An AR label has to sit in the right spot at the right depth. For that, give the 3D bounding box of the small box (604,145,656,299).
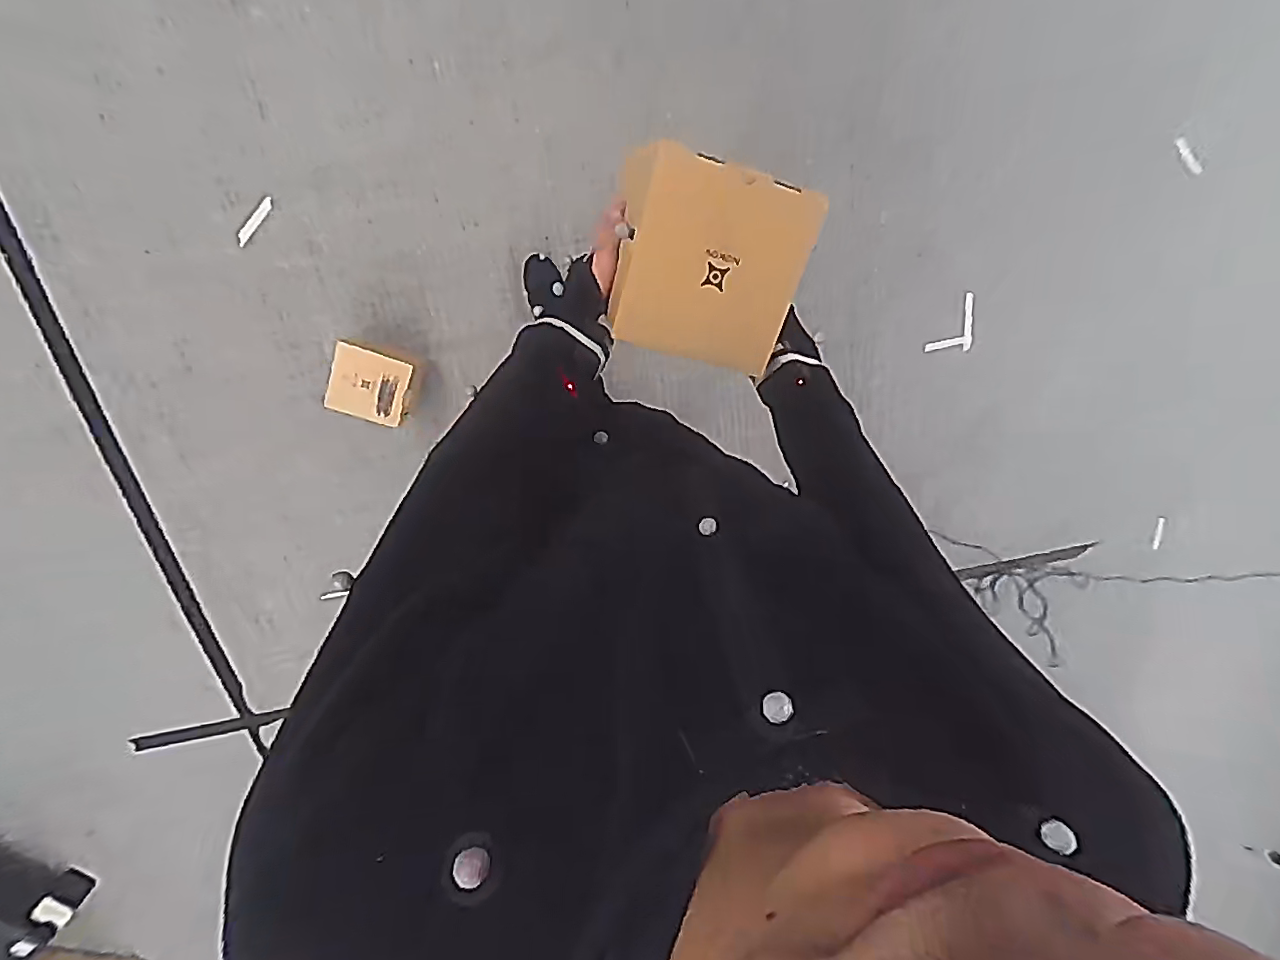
[{"bbox_3d":[0.051,-0.315,0.719,0.168,0.176,0.179,12,115,-13],"label":"small box"}]

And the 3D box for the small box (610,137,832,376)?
[{"bbox_3d":[0.067,-0.235,0.578,0.168,0.176,0.179,12,115,-13],"label":"small box"}]
